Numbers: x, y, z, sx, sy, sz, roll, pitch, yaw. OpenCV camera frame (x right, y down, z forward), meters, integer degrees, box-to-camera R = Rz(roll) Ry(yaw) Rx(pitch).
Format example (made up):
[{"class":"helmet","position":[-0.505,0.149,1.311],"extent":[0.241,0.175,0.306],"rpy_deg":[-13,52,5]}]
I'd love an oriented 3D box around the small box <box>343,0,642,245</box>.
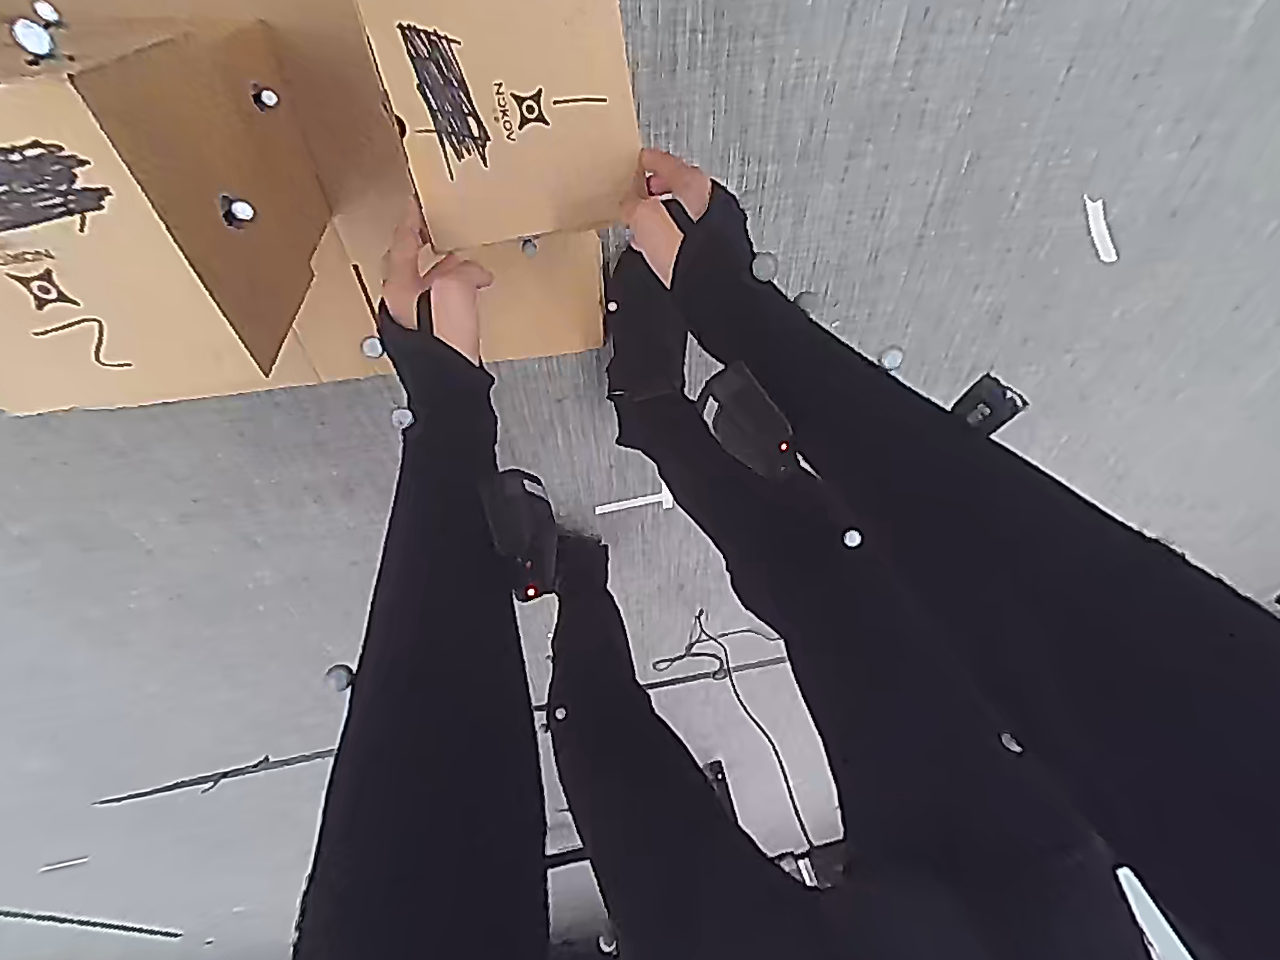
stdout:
[{"class":"small box","position":[-0.114,-0.297,0.450],"extent":[0.179,0.176,0.168],"rpy_deg":[-17,116,-11]}]

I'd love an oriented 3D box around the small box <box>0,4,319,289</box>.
[{"class":"small box","position":[-0.406,-0.286,0.464],"extent":[0.168,0.176,0.179],"rpy_deg":[-6,136,-10]}]
